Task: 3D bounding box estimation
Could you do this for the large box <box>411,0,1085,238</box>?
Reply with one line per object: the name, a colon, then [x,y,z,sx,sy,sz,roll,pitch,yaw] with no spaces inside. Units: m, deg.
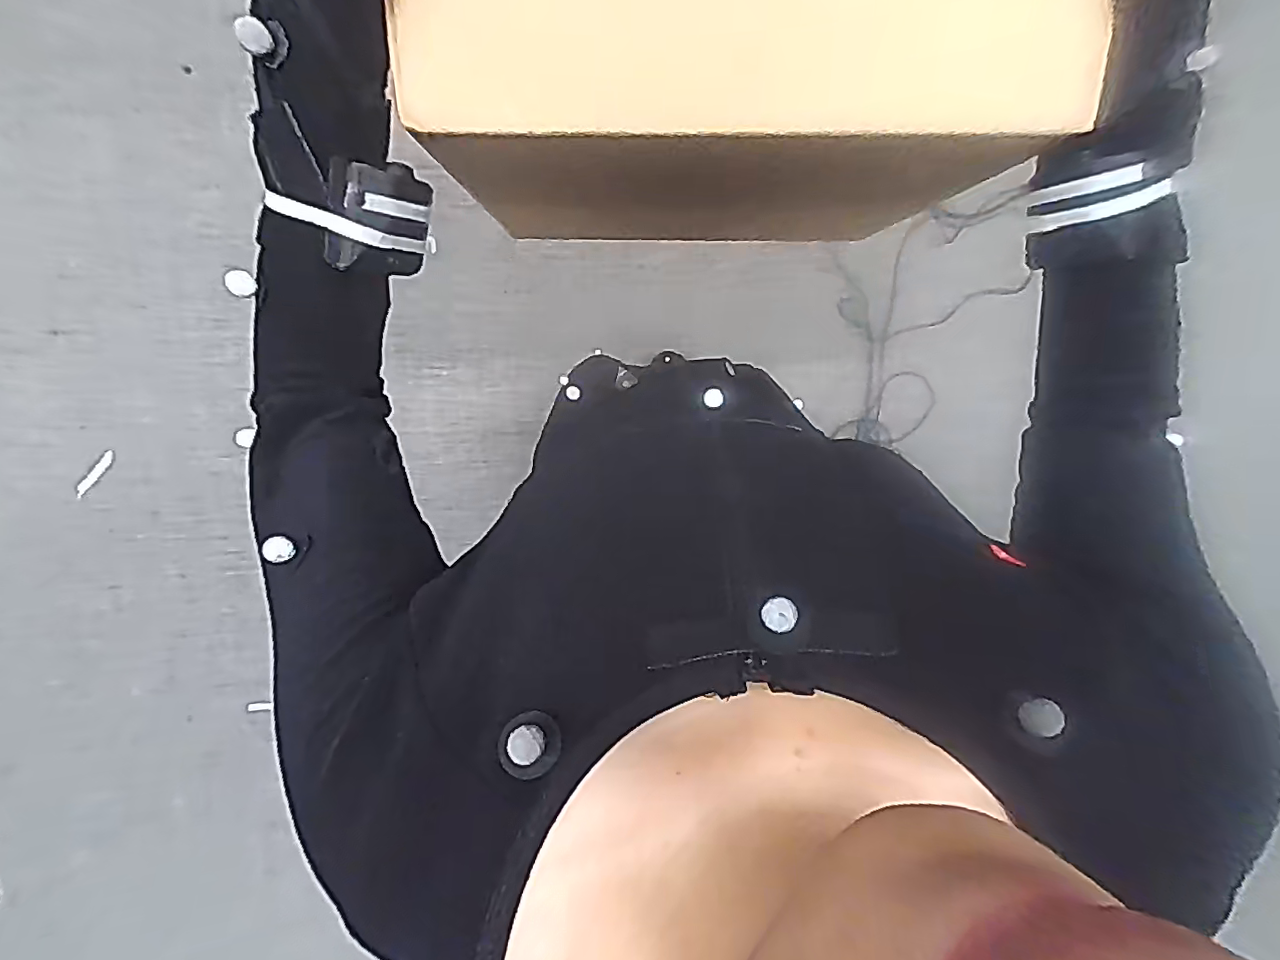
large box: [0.057,-0.398,0.440,0.408,0.320,0.320,-1,103,-2]
